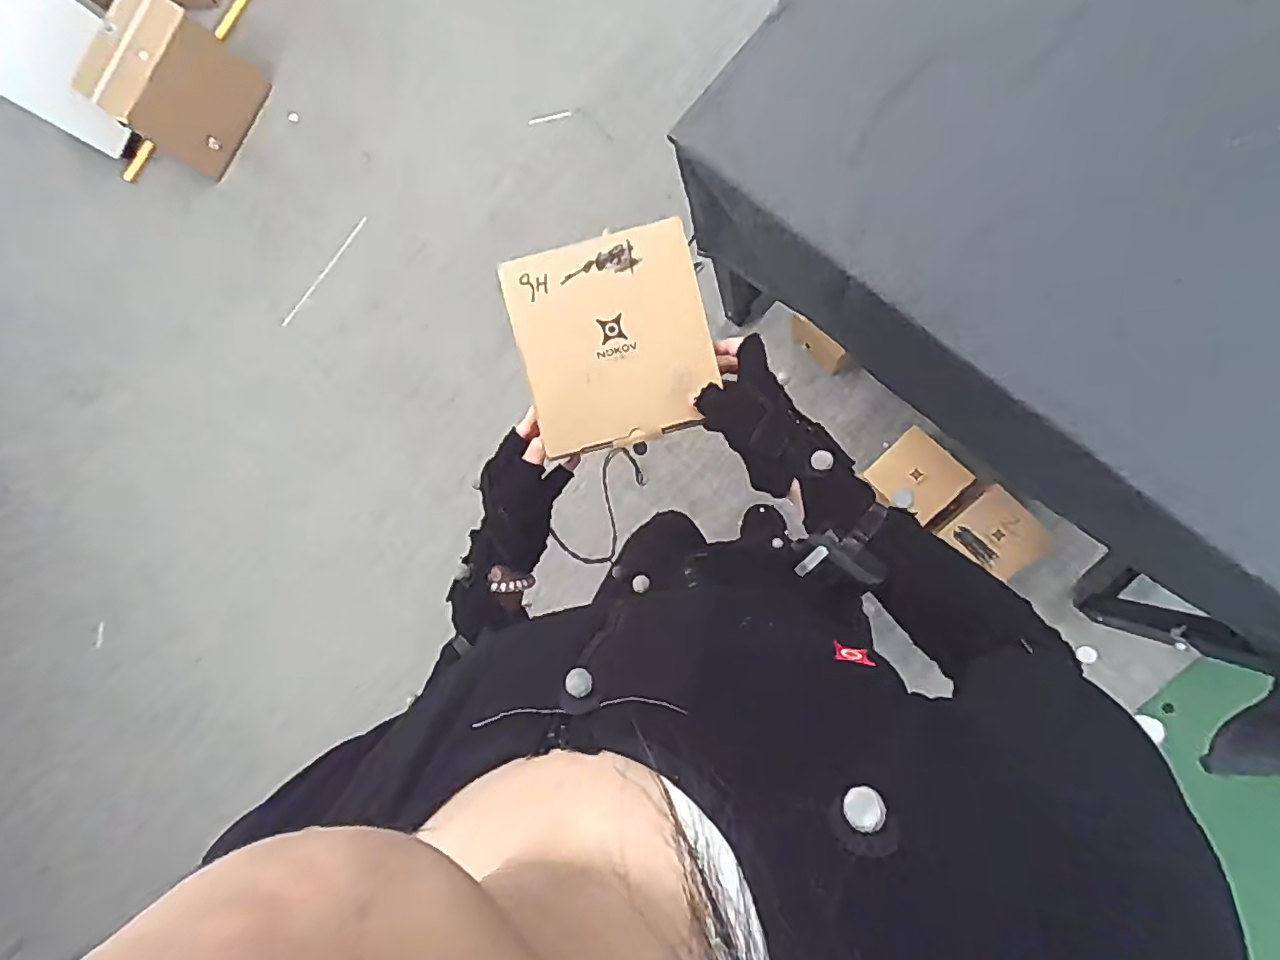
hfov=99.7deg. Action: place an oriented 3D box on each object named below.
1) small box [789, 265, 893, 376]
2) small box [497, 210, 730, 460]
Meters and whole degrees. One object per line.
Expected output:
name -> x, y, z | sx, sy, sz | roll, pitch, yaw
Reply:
small box -> 0.491, -0.391, 1.356 | 0.179, 0.176, 0.168 | -40, 77, 6
small box -> -0.020, -0.127, 0.532 | 0.168, 0.176, 0.179 | -15, 95, 1
